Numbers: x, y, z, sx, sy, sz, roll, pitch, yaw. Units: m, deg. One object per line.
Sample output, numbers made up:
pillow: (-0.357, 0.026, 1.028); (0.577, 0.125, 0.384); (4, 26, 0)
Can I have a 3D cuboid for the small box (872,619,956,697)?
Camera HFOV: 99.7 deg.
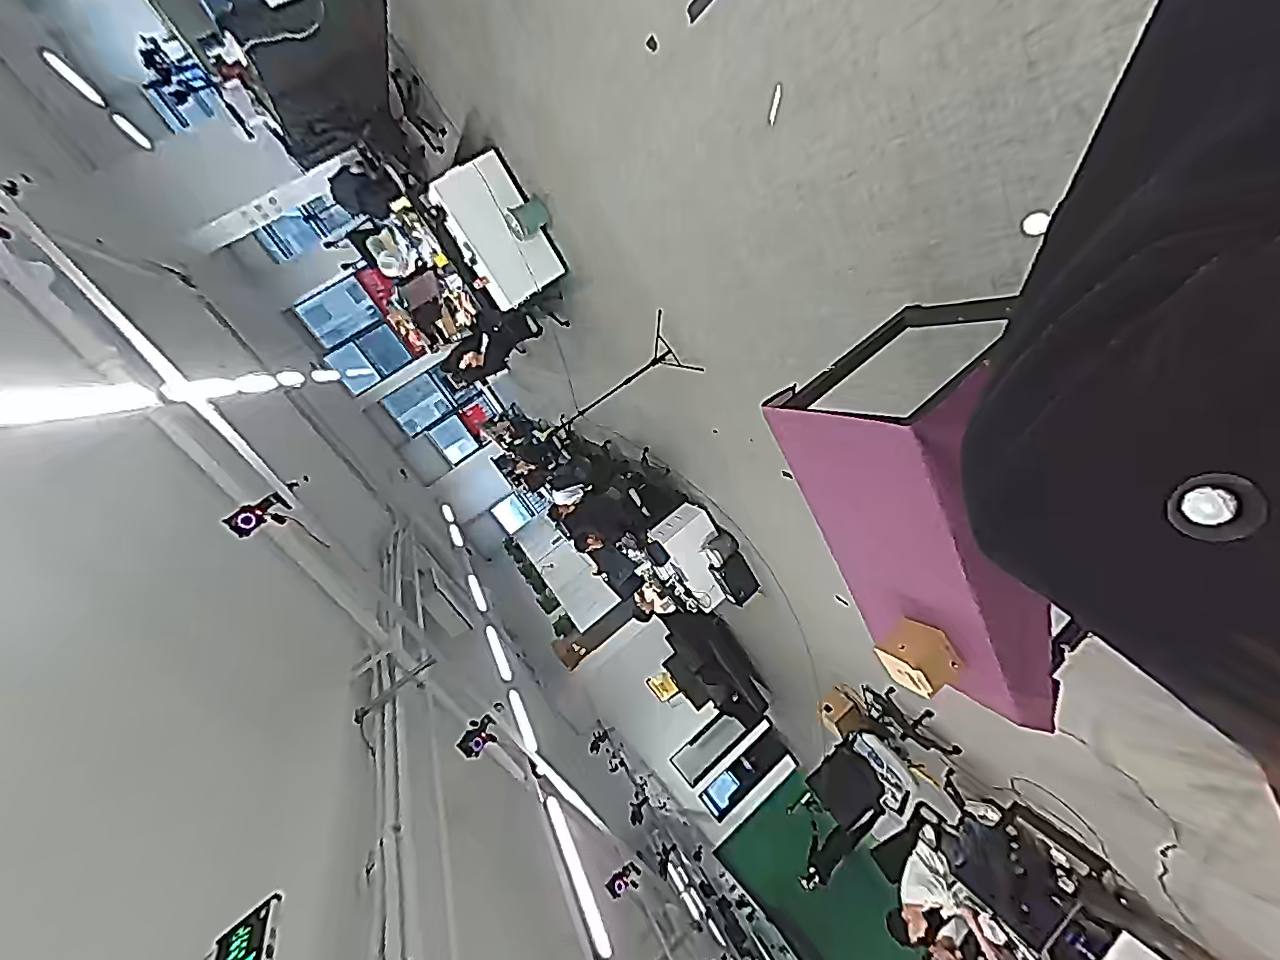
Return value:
small box: (0.959, 0.610, 1.882); (0.168, 0.176, 0.179); (56, 167, -11)
